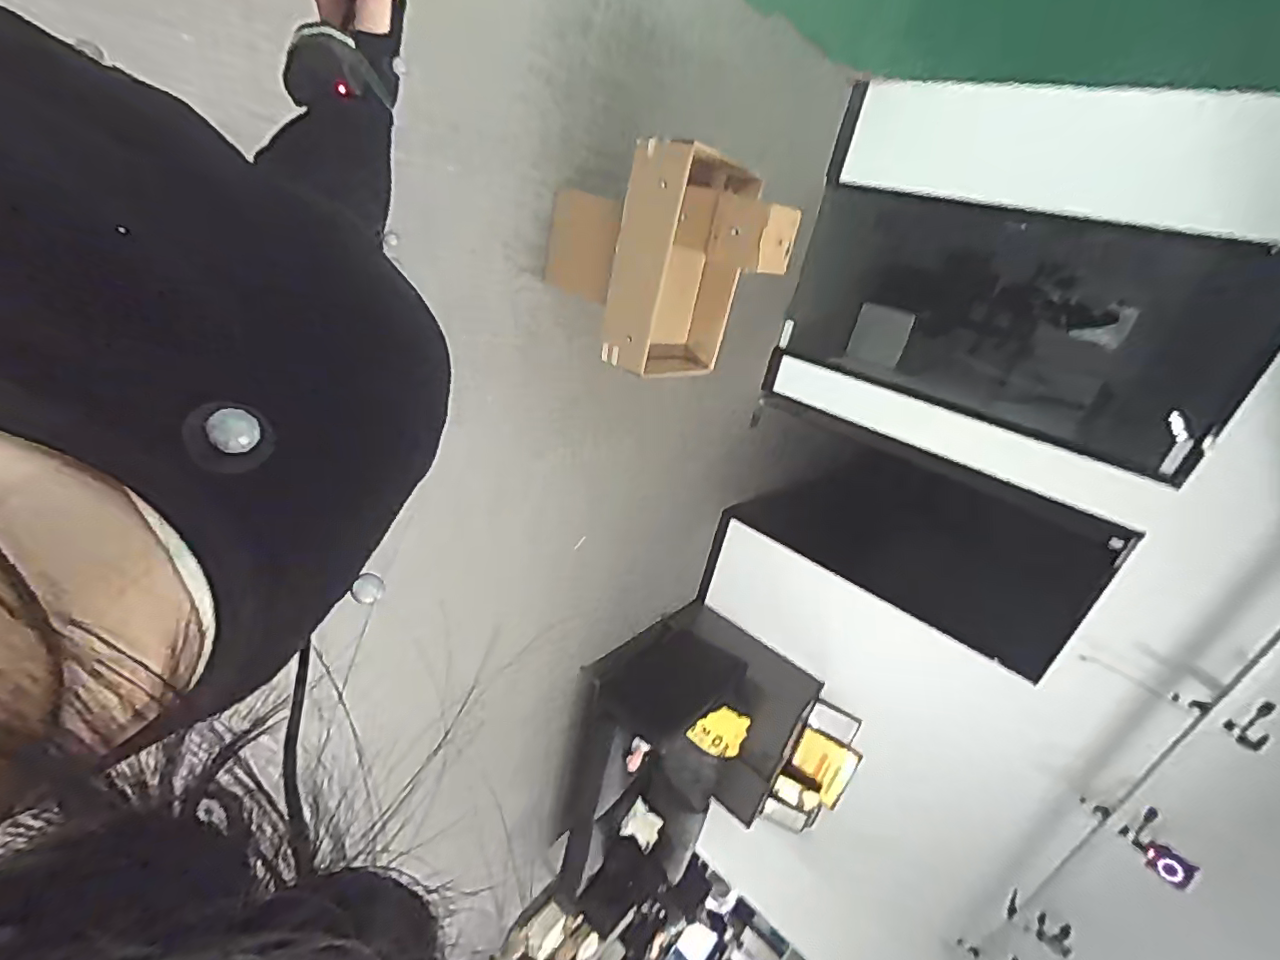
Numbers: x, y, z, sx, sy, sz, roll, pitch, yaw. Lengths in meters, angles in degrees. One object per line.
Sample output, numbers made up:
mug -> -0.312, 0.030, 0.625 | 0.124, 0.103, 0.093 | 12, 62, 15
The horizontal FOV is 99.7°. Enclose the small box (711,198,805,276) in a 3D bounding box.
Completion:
small box -> 0.321, -0.669, 1.492 | 0.179, 0.176, 0.168 | -19, 130, -45

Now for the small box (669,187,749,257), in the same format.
small box -> 0.212, -0.751, 1.586 | 0.179, 0.176, 0.168 | -19, 130, -45
